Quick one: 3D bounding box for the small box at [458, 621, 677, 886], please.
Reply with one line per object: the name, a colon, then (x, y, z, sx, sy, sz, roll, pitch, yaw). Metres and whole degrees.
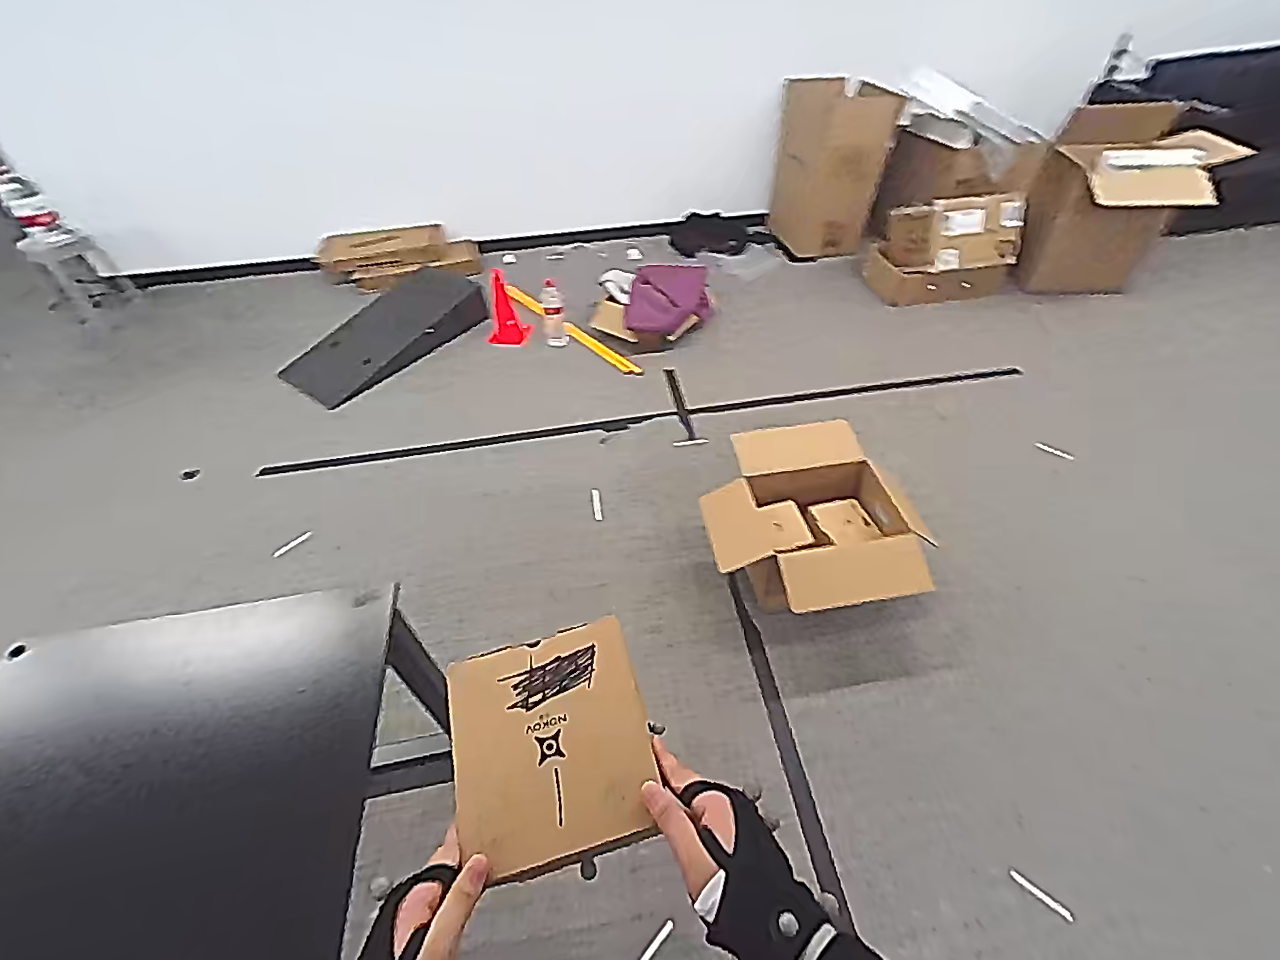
small box: (-0.066, 0.267, 0.529, 0.168, 0.176, 0.179, -15, 56, -5)
